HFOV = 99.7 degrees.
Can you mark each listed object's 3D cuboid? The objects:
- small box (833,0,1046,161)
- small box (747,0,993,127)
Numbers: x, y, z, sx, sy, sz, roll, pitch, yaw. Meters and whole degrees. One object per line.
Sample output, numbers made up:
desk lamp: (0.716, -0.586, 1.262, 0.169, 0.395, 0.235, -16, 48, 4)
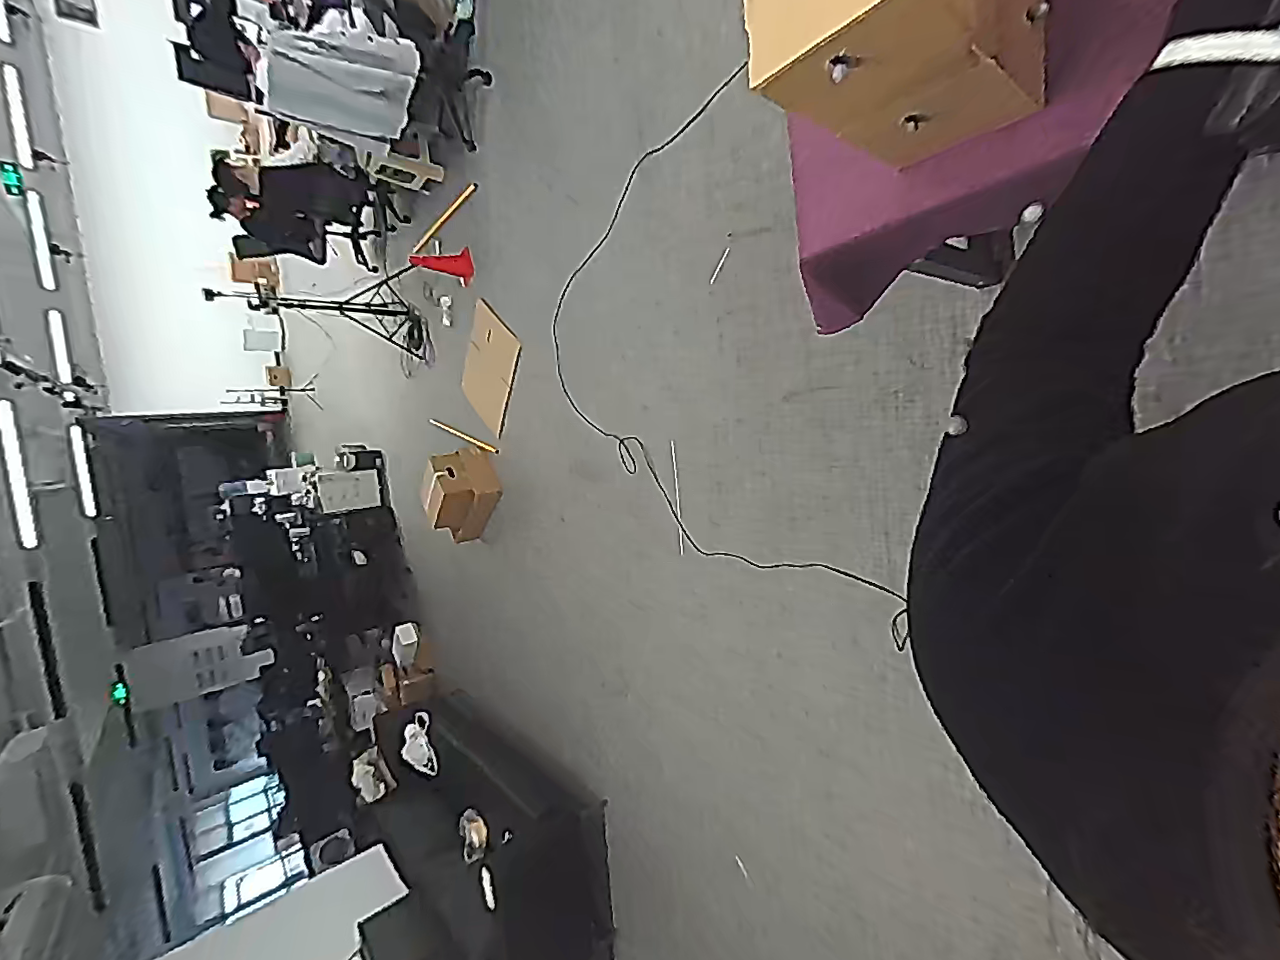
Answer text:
small box: (0.349, -0.509, 0.637, 0.179, 0.176, 0.168, 3, 100, 50)
small box: (0.226, -0.489, 0.532, 0.179, 0.176, 0.168, 2, 99, 52)
